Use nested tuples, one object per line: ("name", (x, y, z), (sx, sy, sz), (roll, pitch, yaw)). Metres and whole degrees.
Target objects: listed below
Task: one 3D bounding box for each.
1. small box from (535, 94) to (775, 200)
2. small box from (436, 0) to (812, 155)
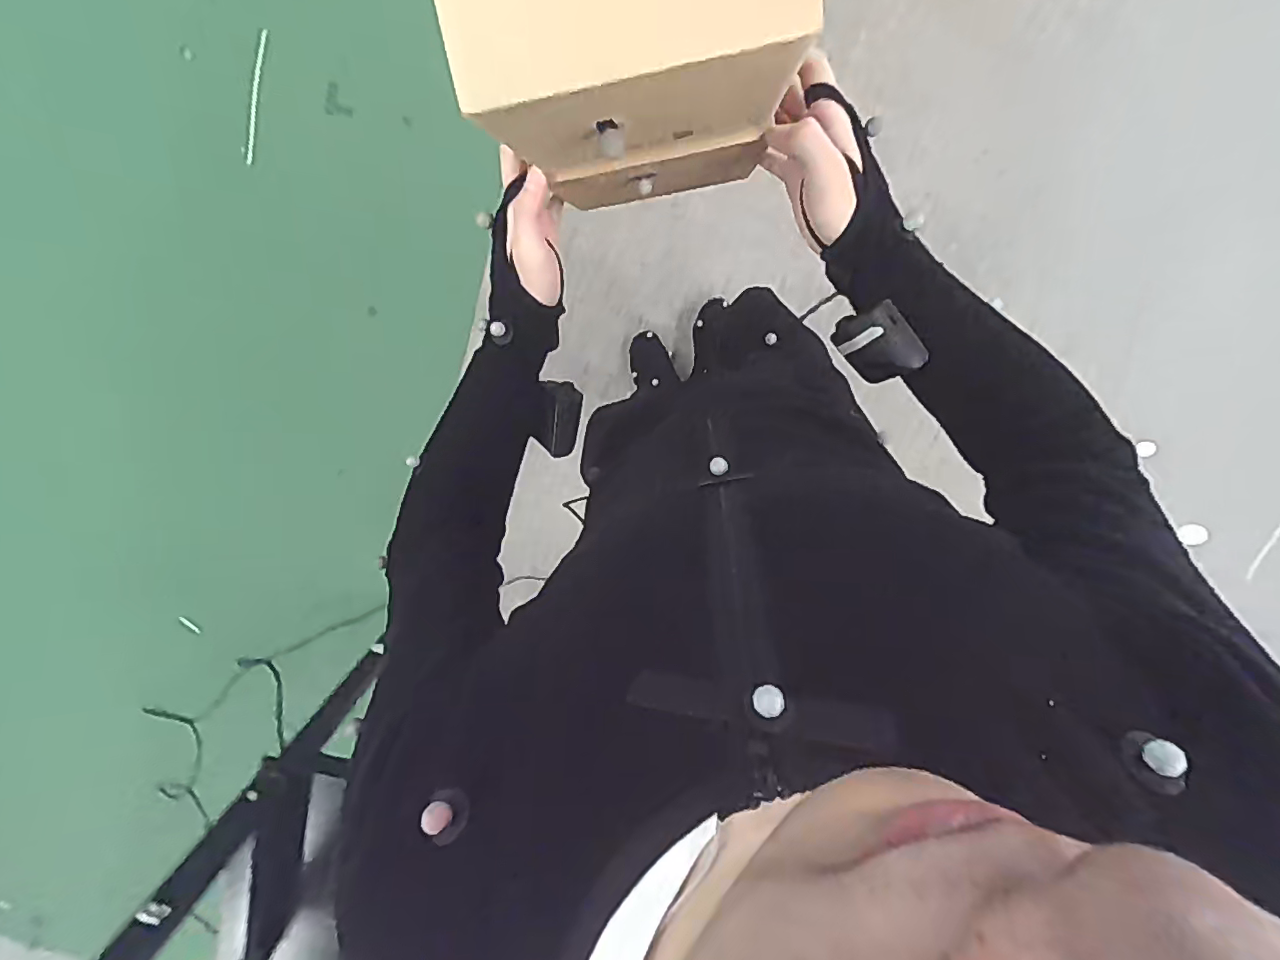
("small box", (0.006, -0.342, 0.442), (0.179, 0.176, 0.168), (-7, 110, 7))
("small box", (-0.009, -0.293, 0.288), (0.168, 0.176, 0.179), (-7, 109, 8))
